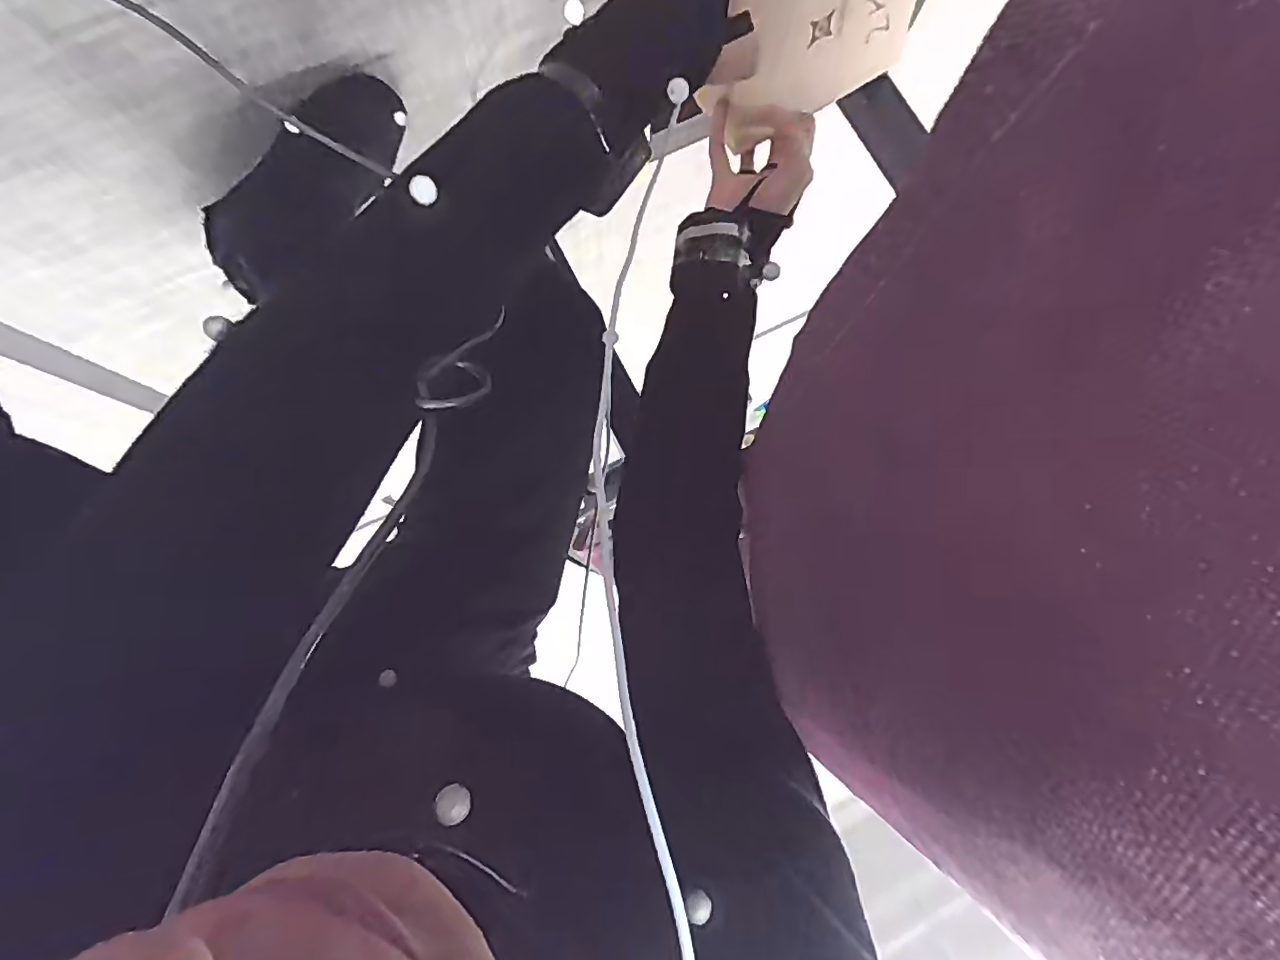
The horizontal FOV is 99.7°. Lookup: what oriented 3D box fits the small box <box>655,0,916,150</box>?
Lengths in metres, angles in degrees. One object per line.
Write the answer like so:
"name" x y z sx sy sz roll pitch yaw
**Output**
"small box" 0.113 -0.435 0.448 0.179 0.176 0.168 -29 166 3
